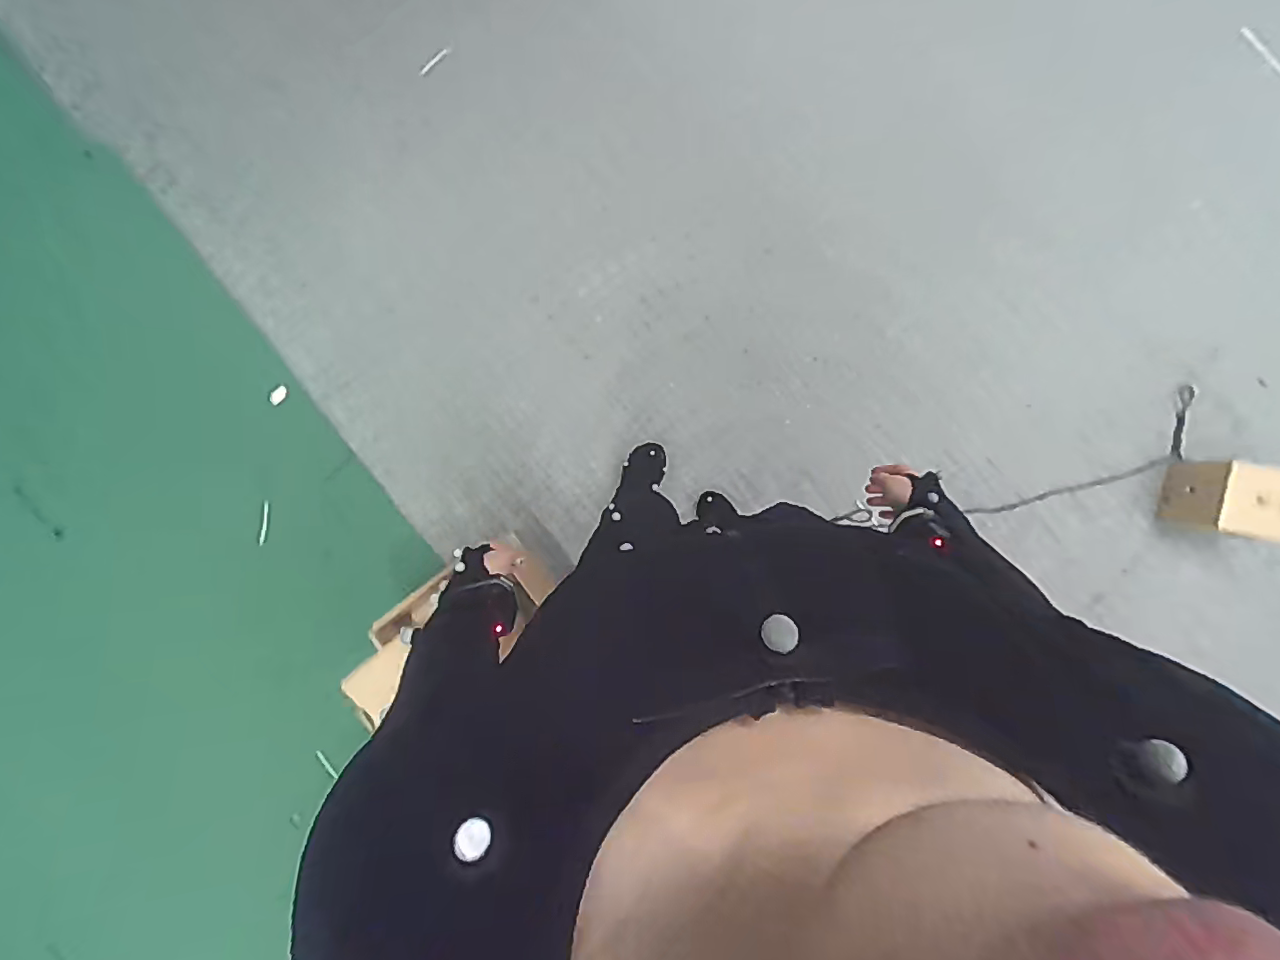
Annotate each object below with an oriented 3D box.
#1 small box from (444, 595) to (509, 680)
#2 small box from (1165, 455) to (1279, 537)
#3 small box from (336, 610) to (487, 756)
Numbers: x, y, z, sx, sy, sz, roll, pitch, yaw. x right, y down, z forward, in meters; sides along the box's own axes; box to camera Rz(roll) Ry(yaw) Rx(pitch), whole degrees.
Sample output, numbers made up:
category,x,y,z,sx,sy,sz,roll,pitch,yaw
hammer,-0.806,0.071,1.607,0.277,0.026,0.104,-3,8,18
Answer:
category,x,y,z,sx,sy,sz,roll,pitch,yaw
small box,-0.424,0.384,1.215,0.179,0.176,0.168,-36,89,1
small box,1.442,0.040,1.309,0.179,0.176,0.168,12,92,4
small box,-0.431,0.383,1.051,0.179,0.176,0.168,-39,89,3
